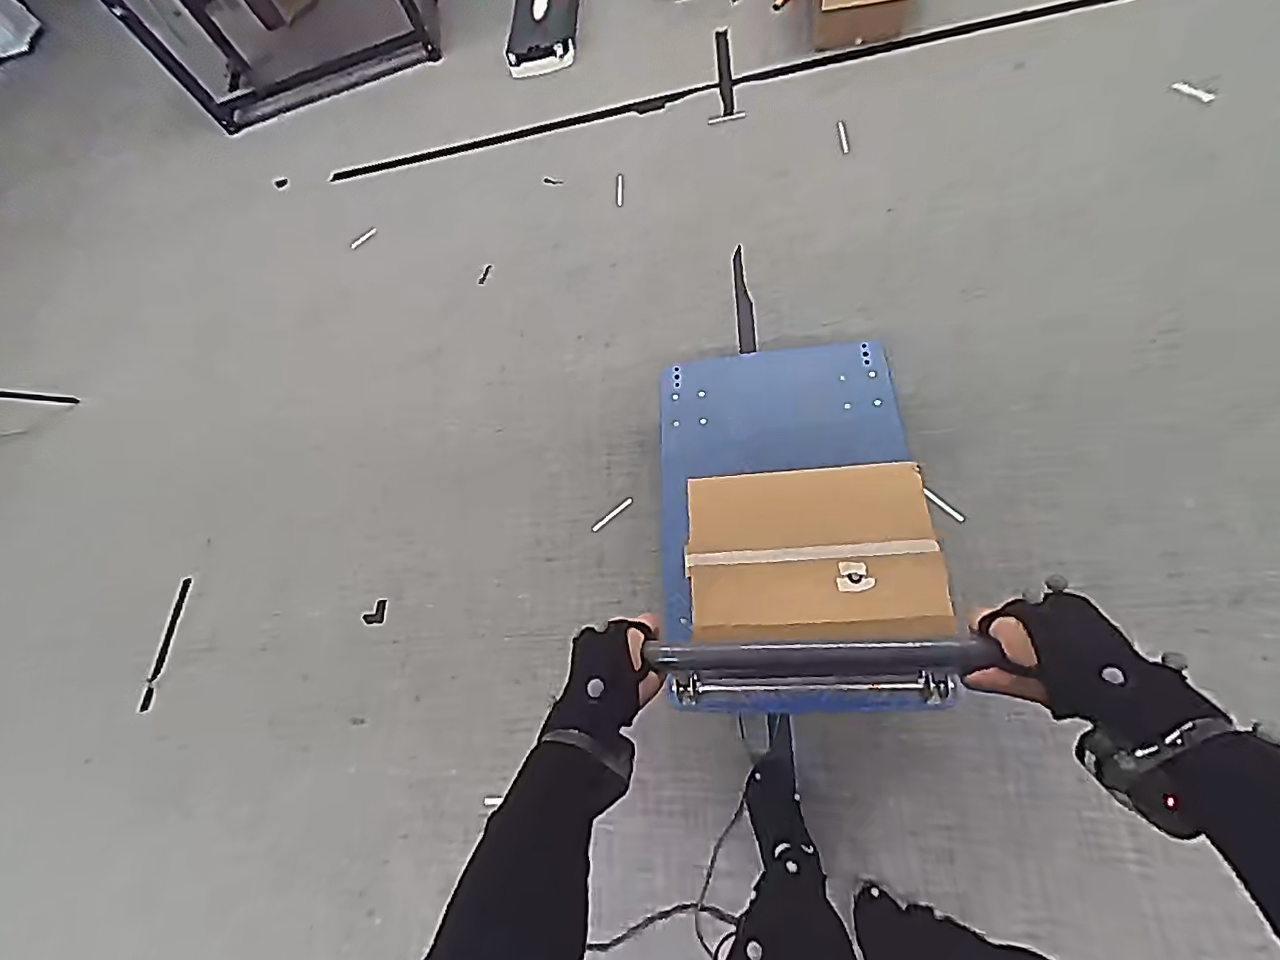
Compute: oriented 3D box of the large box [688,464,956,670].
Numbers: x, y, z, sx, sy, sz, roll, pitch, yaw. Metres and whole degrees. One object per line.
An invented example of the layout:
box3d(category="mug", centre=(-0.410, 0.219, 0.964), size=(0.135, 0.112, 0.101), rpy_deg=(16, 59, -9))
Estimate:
box3d(category="large box", centre=(0.312, 0.187, 1.045), size=(0.408, 0.320, 0.320), rpy_deg=(-4, 67, 10))
